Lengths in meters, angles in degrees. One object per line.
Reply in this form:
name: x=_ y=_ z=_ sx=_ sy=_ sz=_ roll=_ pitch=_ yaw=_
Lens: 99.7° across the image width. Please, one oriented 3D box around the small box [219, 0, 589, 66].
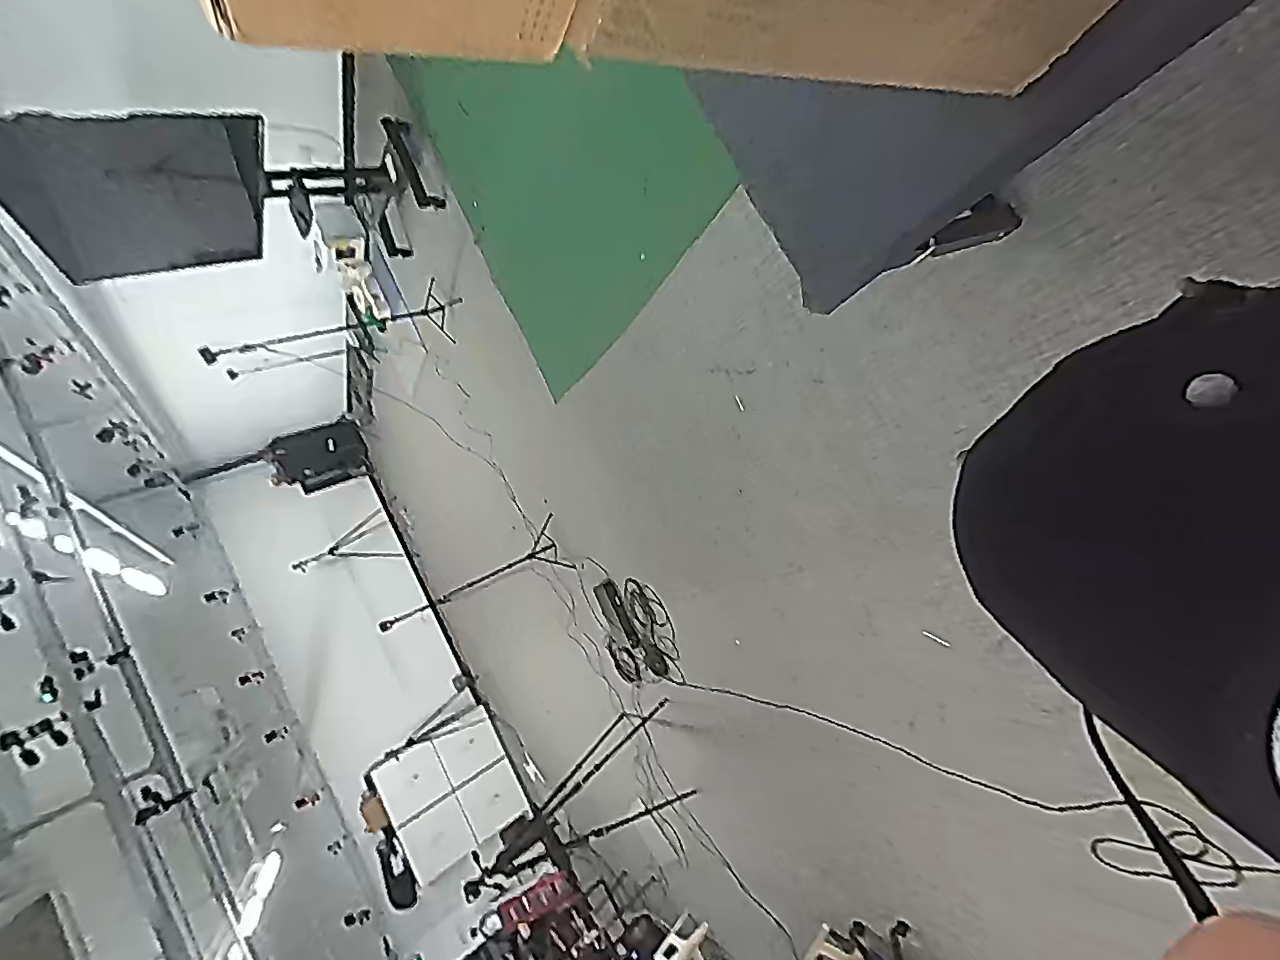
small box: x=-0.105 y=-0.305 z=0.212 sx=0.168 sy=0.176 sz=0.179 roll=63 pitch=149 yaw=3
